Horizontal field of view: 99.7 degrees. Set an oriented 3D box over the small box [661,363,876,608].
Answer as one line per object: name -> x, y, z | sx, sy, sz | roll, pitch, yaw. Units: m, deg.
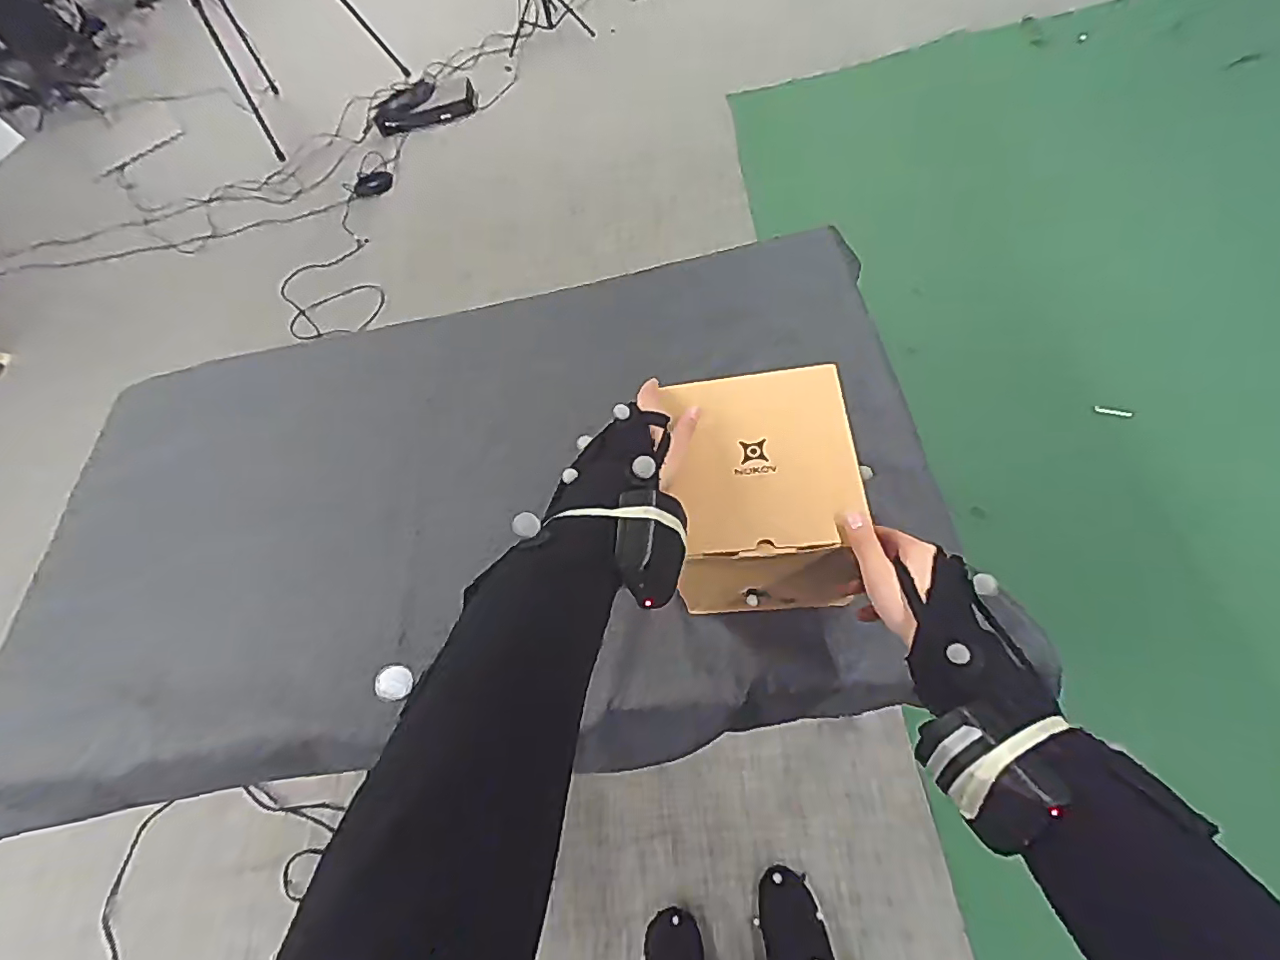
small box -> 0.114, 0.014, 0.530 | 0.168, 0.176, 0.179 | -6, 61, 10
